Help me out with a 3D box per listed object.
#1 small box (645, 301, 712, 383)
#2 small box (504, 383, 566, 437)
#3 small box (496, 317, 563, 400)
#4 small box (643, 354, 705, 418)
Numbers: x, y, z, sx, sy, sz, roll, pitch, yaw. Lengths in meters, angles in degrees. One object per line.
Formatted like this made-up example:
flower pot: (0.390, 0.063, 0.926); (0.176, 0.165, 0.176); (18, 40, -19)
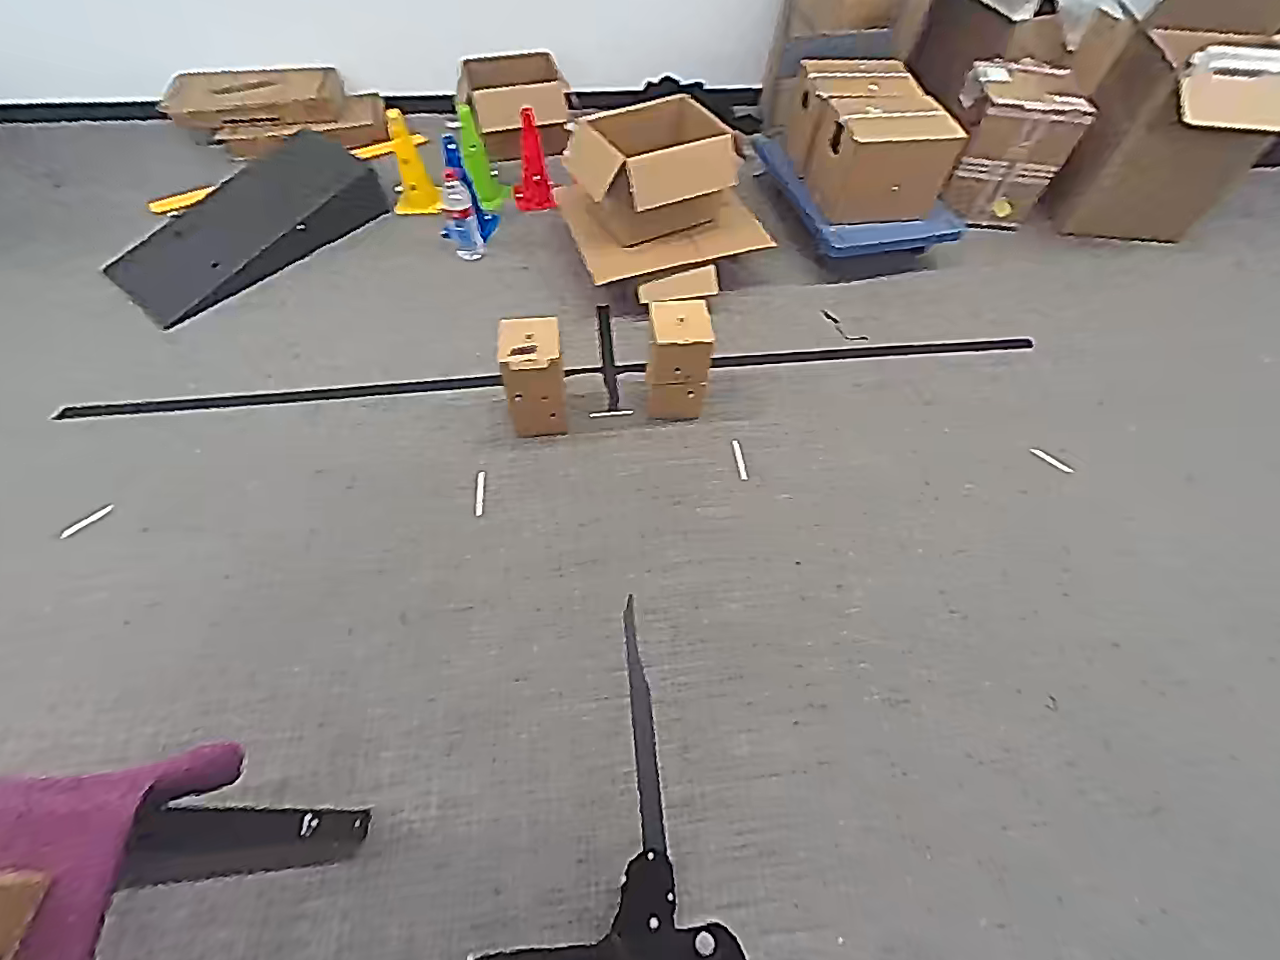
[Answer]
small box: (0.109, -0.413, 1.619); (0.168, 0.176, 0.179); (-4, 59, -6)
small box: (-0.326, -0.254, 1.694); (0.179, 0.176, 0.168); (-8, 58, -6)
small box: (-0.314, -0.342, 1.556); (0.168, 0.176, 0.179); (-4, 57, -5)
small box: (0.104, -0.315, 1.750); (0.179, 0.176, 0.168); (-1, 58, -4)
